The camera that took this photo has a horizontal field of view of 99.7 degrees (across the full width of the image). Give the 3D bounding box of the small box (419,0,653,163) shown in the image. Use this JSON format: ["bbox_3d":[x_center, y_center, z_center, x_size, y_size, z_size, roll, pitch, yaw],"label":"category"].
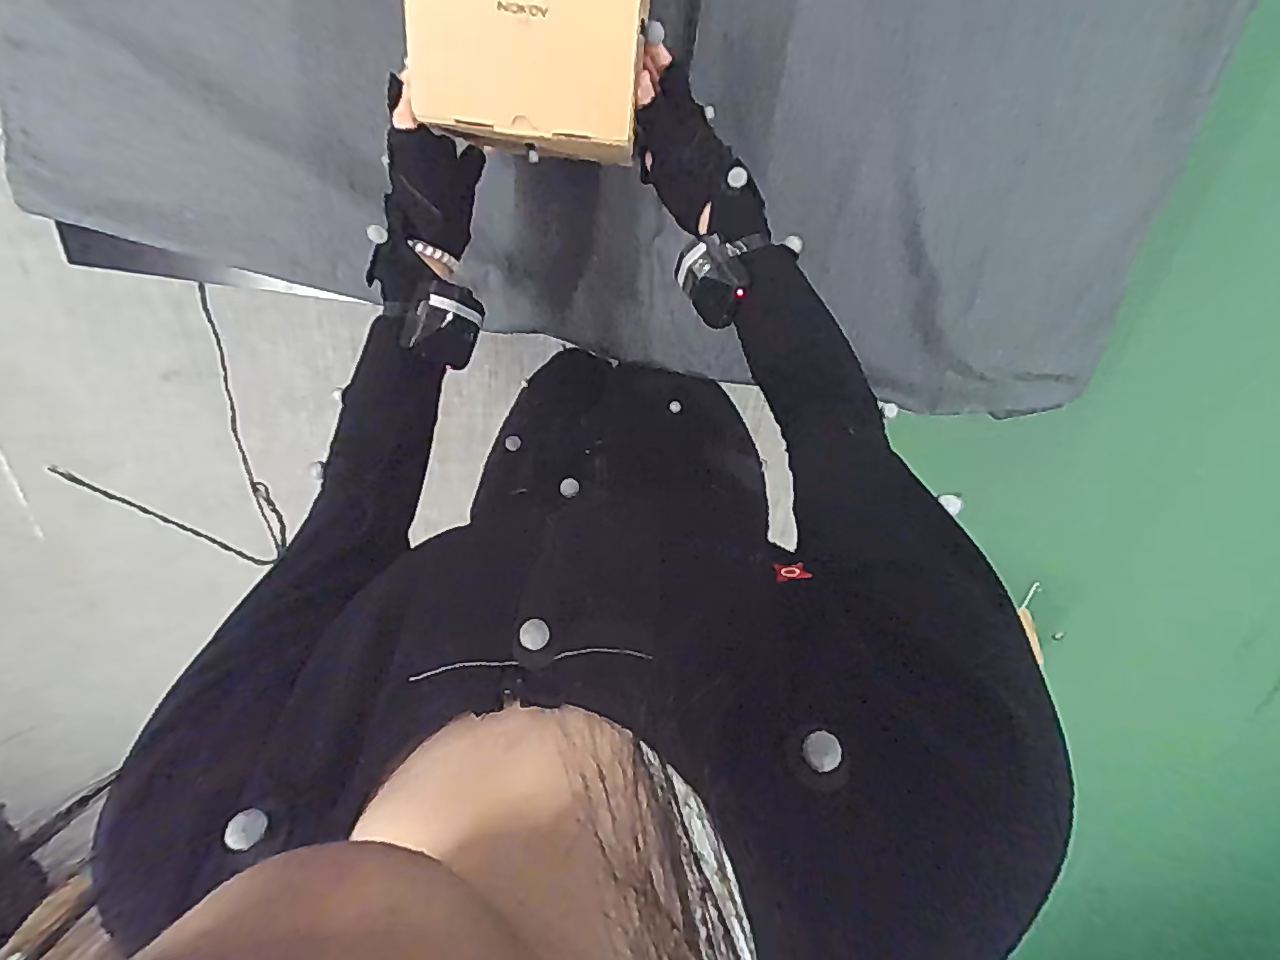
[{"bbox_3d":[-0.076,-0.382,0.458,0.168,0.176,0.179,6,118,-2],"label":"small box"}]
